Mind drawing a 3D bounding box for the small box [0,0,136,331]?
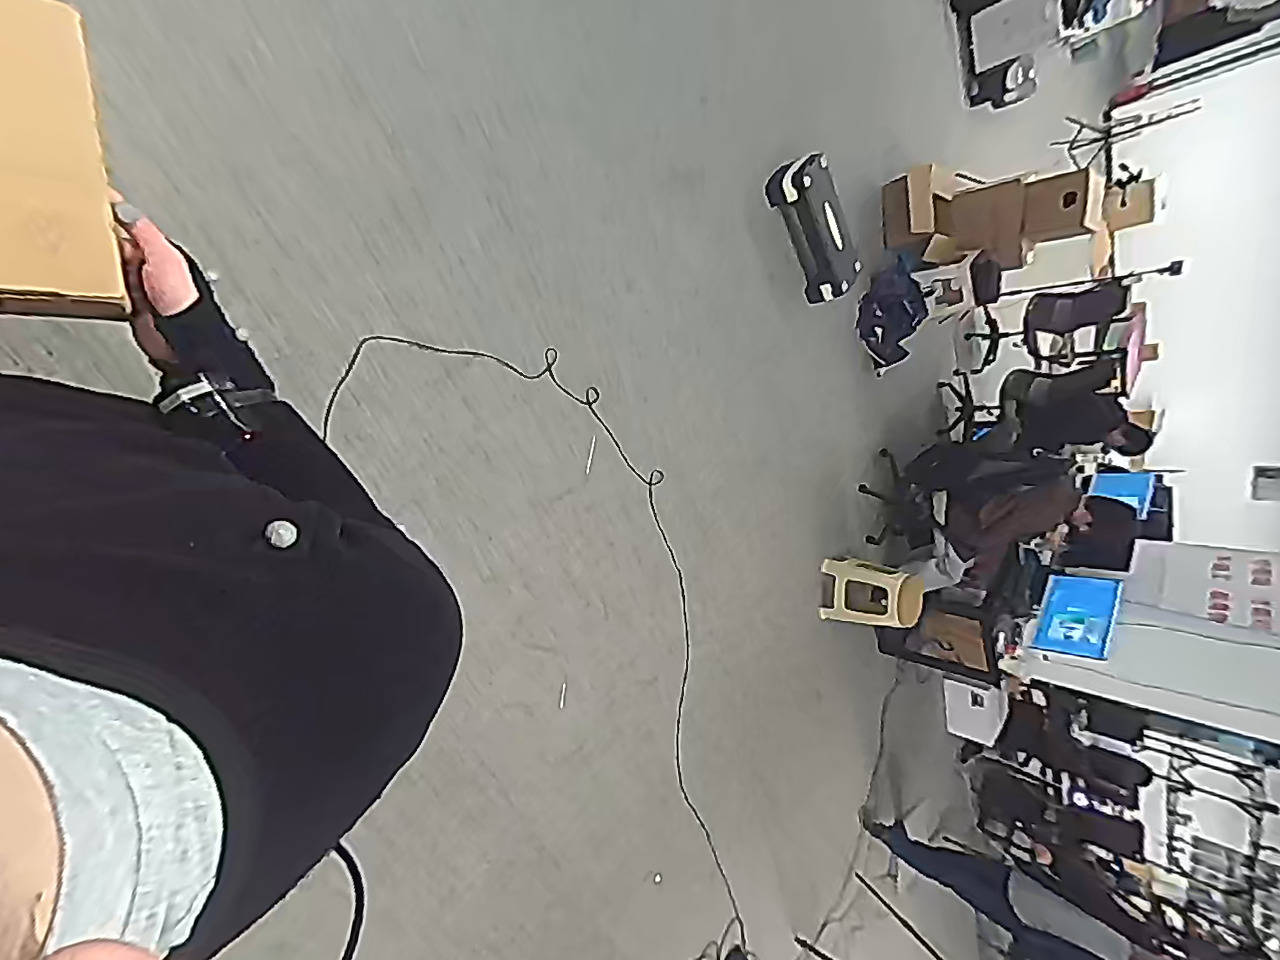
[{"bbox_3d":[-0.447,-0.193,0.348,0.168,0.176,0.179,-10,104,-42],"label":"small box"}]
